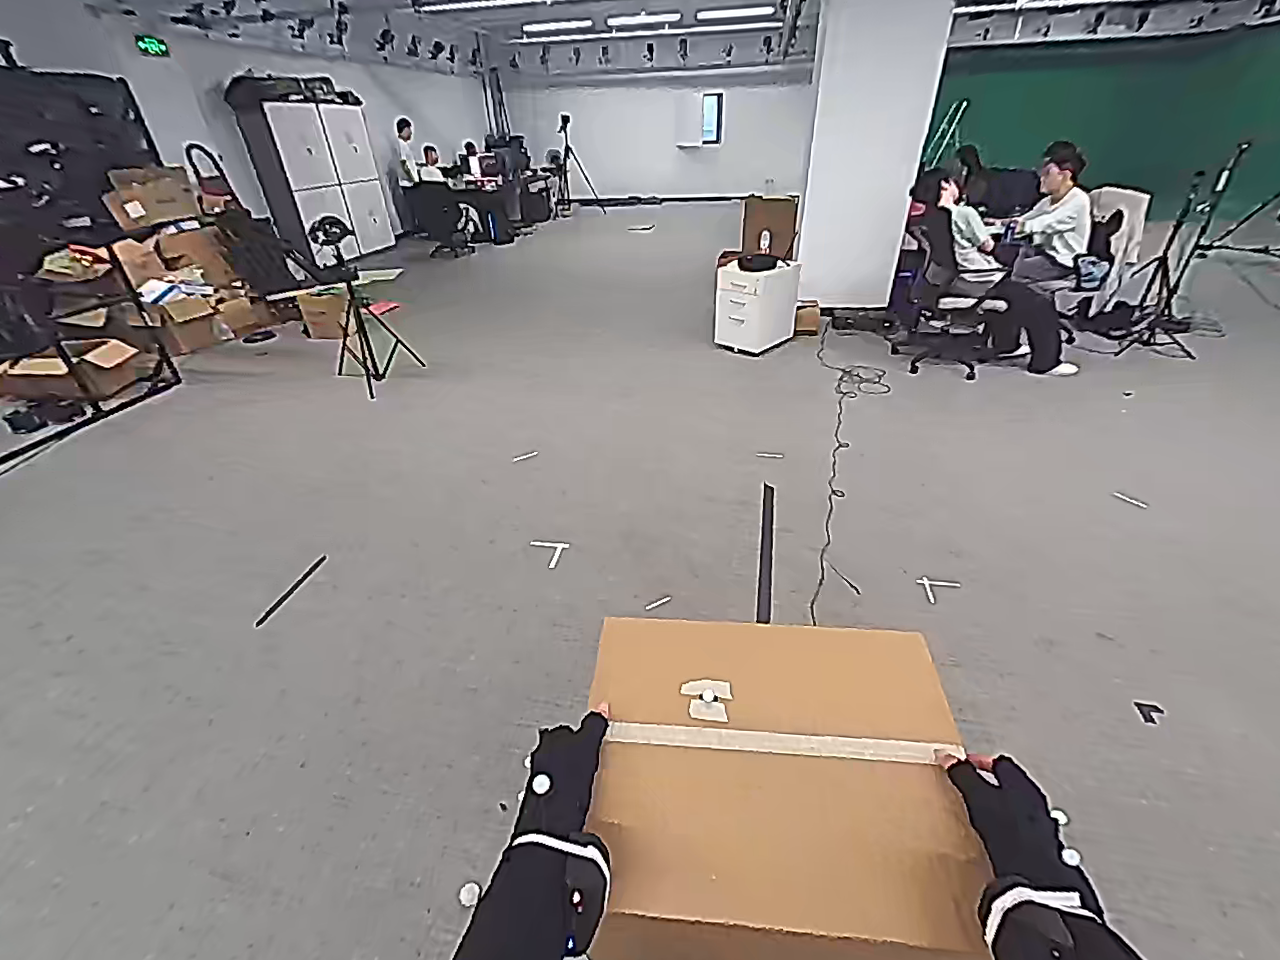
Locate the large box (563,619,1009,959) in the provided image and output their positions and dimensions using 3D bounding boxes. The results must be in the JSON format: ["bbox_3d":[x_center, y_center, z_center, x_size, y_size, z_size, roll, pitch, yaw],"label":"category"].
[{"bbox_3d":[0.148,0.400,0.693,0.408,0.320,0.320,1,40,7],"label":"large box"}]
